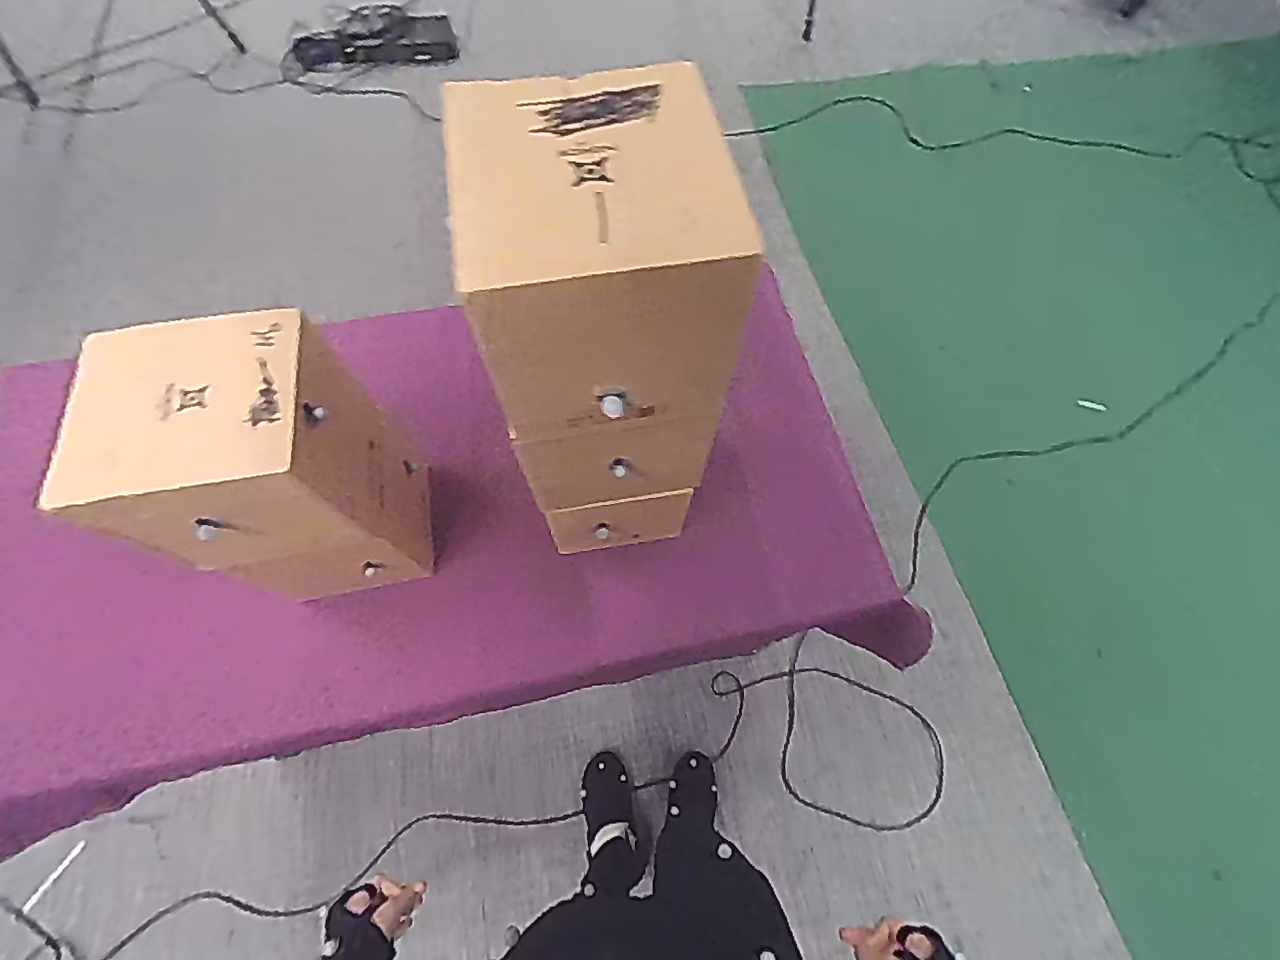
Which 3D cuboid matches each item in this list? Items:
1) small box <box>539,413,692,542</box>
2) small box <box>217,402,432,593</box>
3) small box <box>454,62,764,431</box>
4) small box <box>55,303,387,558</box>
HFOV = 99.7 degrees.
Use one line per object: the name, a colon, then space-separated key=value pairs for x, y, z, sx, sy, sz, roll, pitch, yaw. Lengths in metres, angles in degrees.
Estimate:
small box: x=-0.035 y=-0.028 z=0.698 sx=0.168 sy=0.176 sz=0.179 roll=-9 pitch=66 yaw=-5
small box: x=-0.364 y=0.028 z=0.662 sx=0.179 sy=0.176 sz=0.168 roll=-10 pitch=66 yaw=-6
small box: x=-0.028 y=-0.159 z=0.396 sx=0.168 sy=0.176 sz=0.179 roll=-10 pitch=67 yaw=-5
small box: x=-0.363 y=-0.036 z=0.511 sx=0.179 sy=0.176 sz=0.168 roll=-10 pitch=66 yaw=-6
